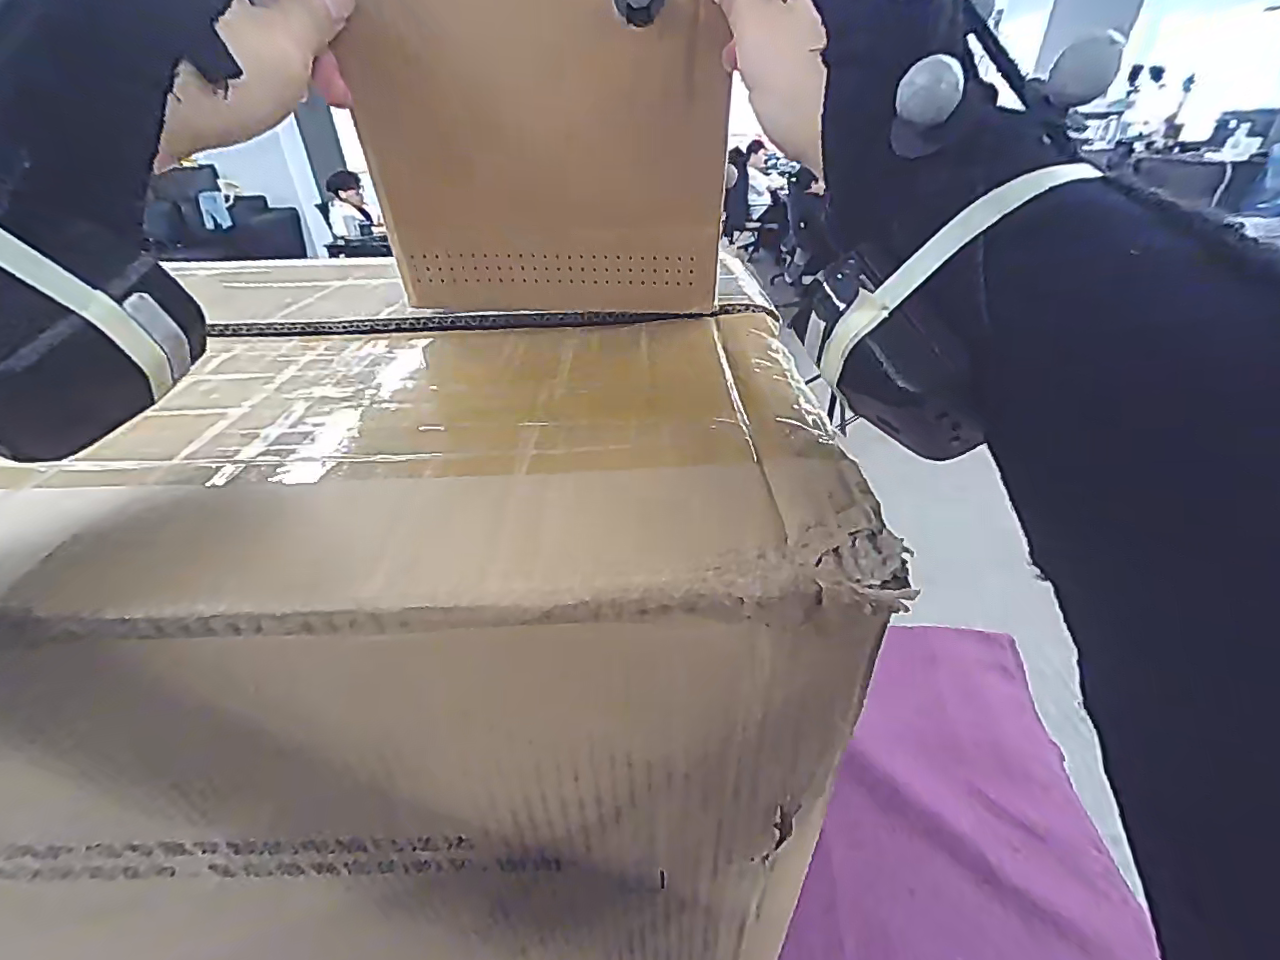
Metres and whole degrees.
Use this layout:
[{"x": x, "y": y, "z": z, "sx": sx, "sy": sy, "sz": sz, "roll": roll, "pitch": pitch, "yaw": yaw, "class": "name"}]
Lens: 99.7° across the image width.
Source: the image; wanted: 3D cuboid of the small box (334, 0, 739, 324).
[{"x": -0.041, "y": -0.201, "z": 0.310, "sx": 0.179, "sy": 0.176, "sz": 0.168, "roll": 1, "pitch": 42, "yaw": 2, "class": "small box"}]
